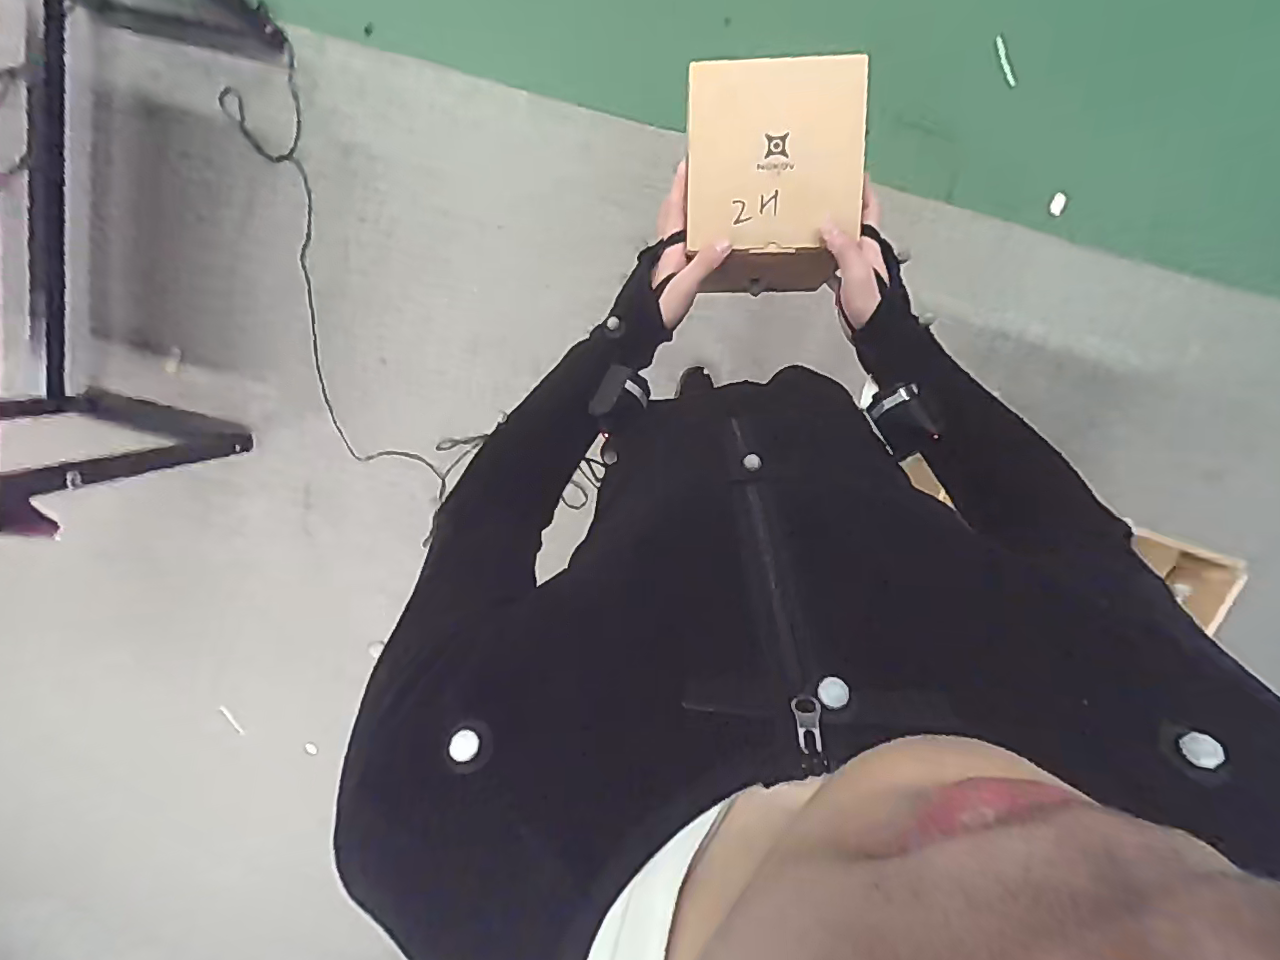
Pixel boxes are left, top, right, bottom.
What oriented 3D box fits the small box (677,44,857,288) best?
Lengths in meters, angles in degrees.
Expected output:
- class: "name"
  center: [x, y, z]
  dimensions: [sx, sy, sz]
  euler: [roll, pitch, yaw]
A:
- class: "small box"
  center: [0.124, -0.320, 0.586]
  dimensions: [0.168, 0.176, 0.179]
  euler: [0, 96, 6]
